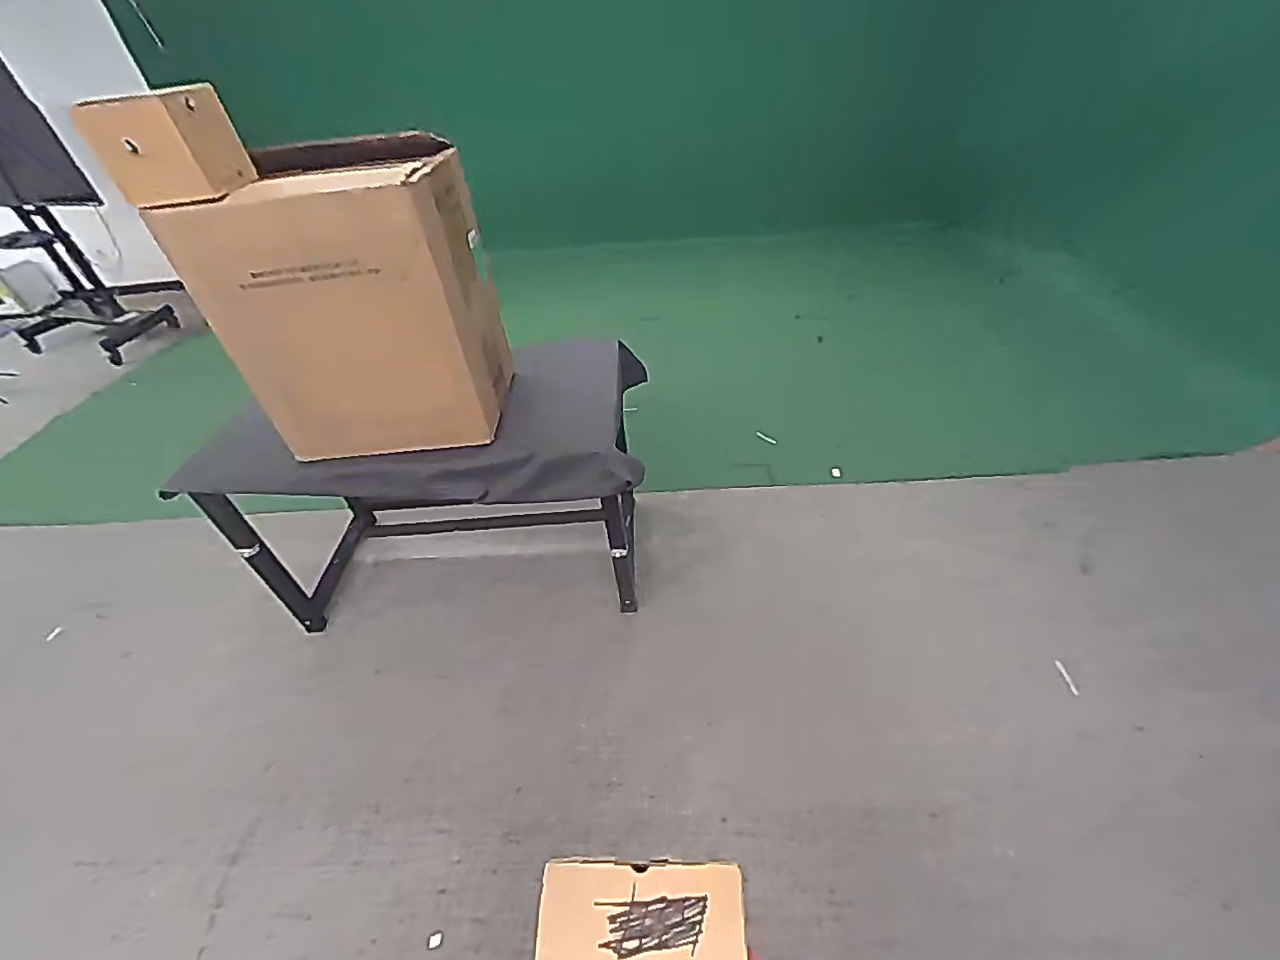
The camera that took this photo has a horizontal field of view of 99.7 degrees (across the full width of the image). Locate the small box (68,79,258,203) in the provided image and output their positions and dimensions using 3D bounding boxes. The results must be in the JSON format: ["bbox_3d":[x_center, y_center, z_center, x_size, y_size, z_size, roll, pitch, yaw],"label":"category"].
[{"bbox_3d":[-0.894,-0.646,1.036,0.179,0.176,0.168,-6,42,3],"label":"small box"}]
